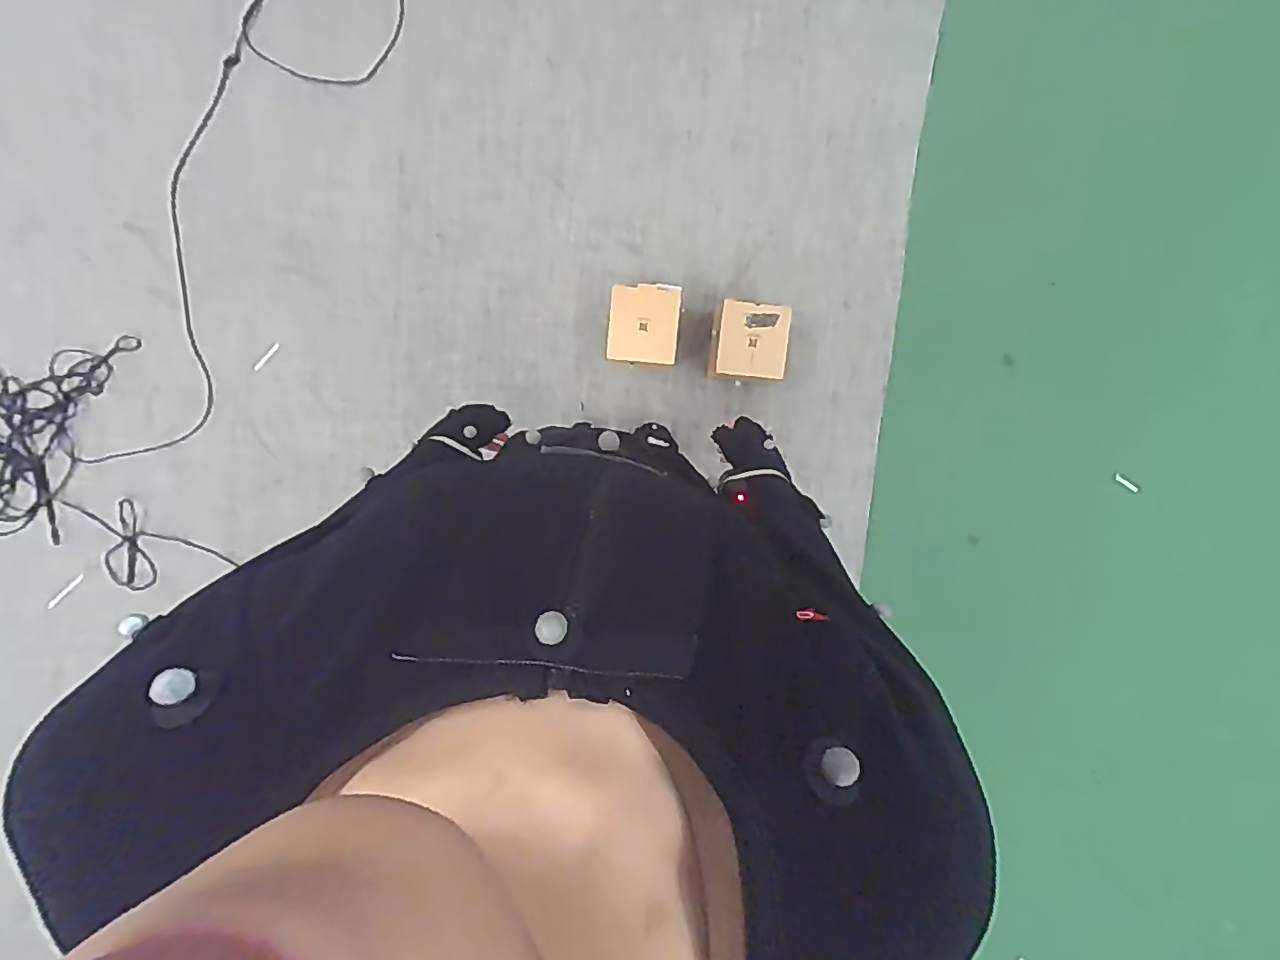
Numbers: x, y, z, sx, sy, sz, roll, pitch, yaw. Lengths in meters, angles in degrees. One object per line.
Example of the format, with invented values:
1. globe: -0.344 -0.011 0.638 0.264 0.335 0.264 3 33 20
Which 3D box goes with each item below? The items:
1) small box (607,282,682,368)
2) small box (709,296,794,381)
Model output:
1. small box: 0.011 -0.380 1.354 0.168 0.176 0.179 5 96 -1
2. small box: 0.272 -0.348 1.358 0.168 0.176 0.179 6 97 -1
